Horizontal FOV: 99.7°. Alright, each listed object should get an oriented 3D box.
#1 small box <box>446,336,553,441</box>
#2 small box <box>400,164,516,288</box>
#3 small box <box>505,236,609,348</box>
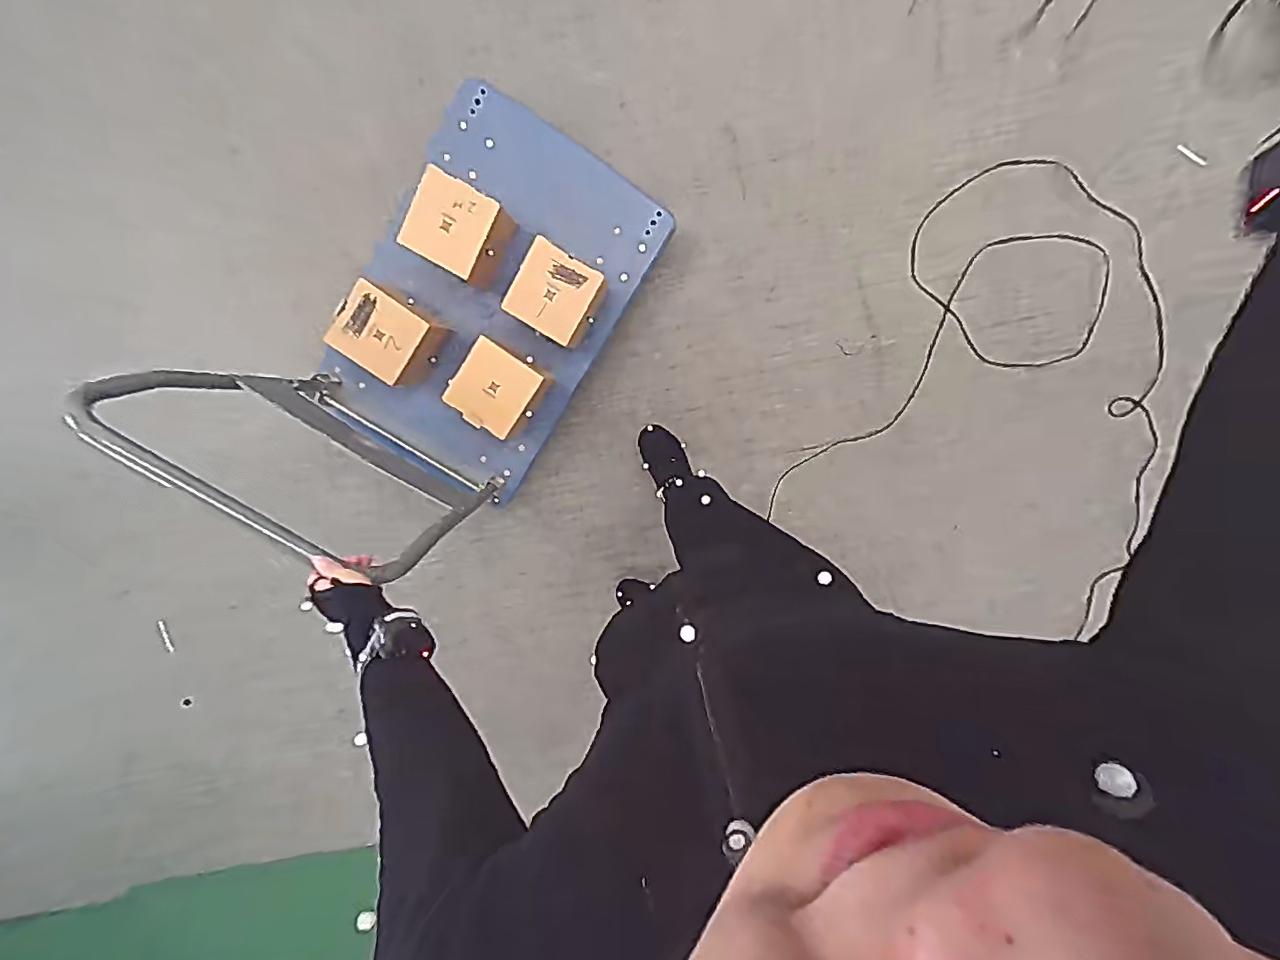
[{"bbox_3d":[-0.321,-0.219,1.279,0.168,0.176,0.179,34,100,-7],"label":"small box"},{"bbox_3d":[-0.395,-0.553,1.208,0.168,0.176,0.179,29,100,-6],"label":"small box"},{"bbox_3d":[-0.180,-0.418,1.234,0.168,0.176,0.179,31,101,-5],"label":"small box"}]
